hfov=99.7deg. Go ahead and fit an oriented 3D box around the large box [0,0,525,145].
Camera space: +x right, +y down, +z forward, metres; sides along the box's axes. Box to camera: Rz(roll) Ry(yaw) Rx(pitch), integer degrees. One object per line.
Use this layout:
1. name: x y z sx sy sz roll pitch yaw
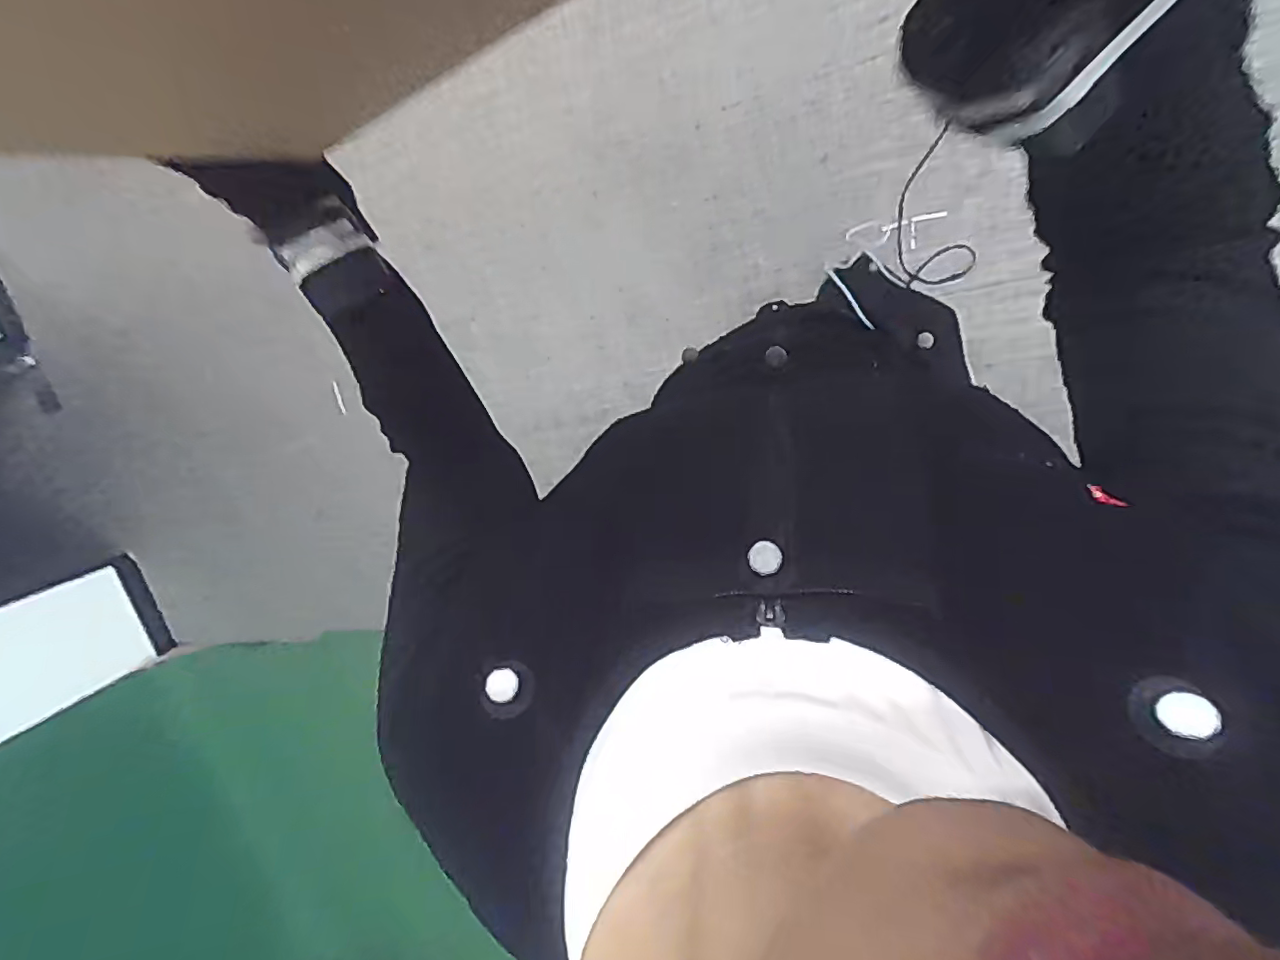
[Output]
1. large box: -0.170 -0.302 0.096 0.408 0.320 0.320 3 116 35
